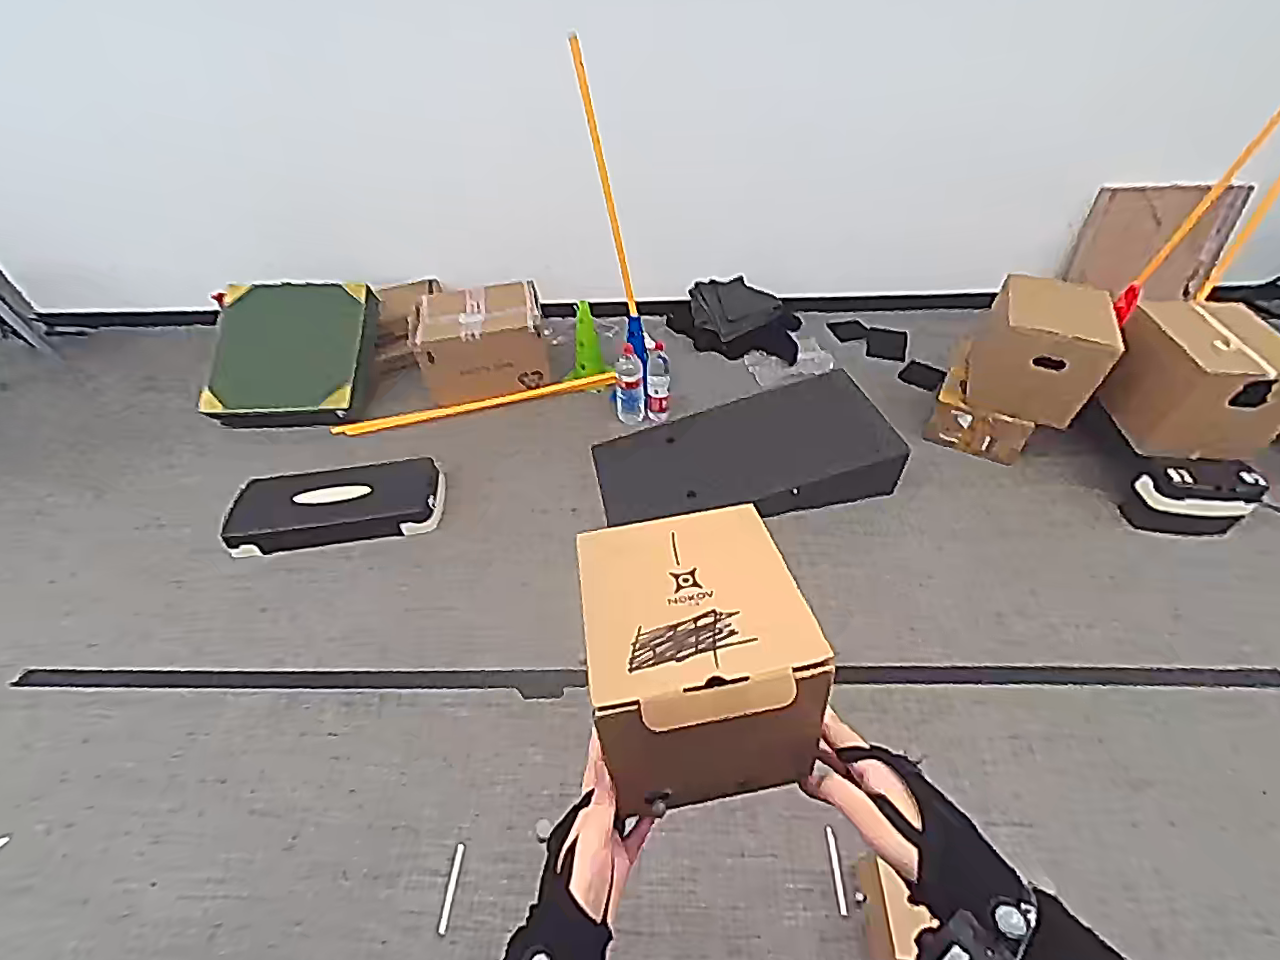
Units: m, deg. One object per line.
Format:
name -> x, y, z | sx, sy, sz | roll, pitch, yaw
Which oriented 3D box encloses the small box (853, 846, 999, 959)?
small box -> 0.520, 0.805, 1.008 | 0.179, 0.176, 0.168 | 2, 45, 5
